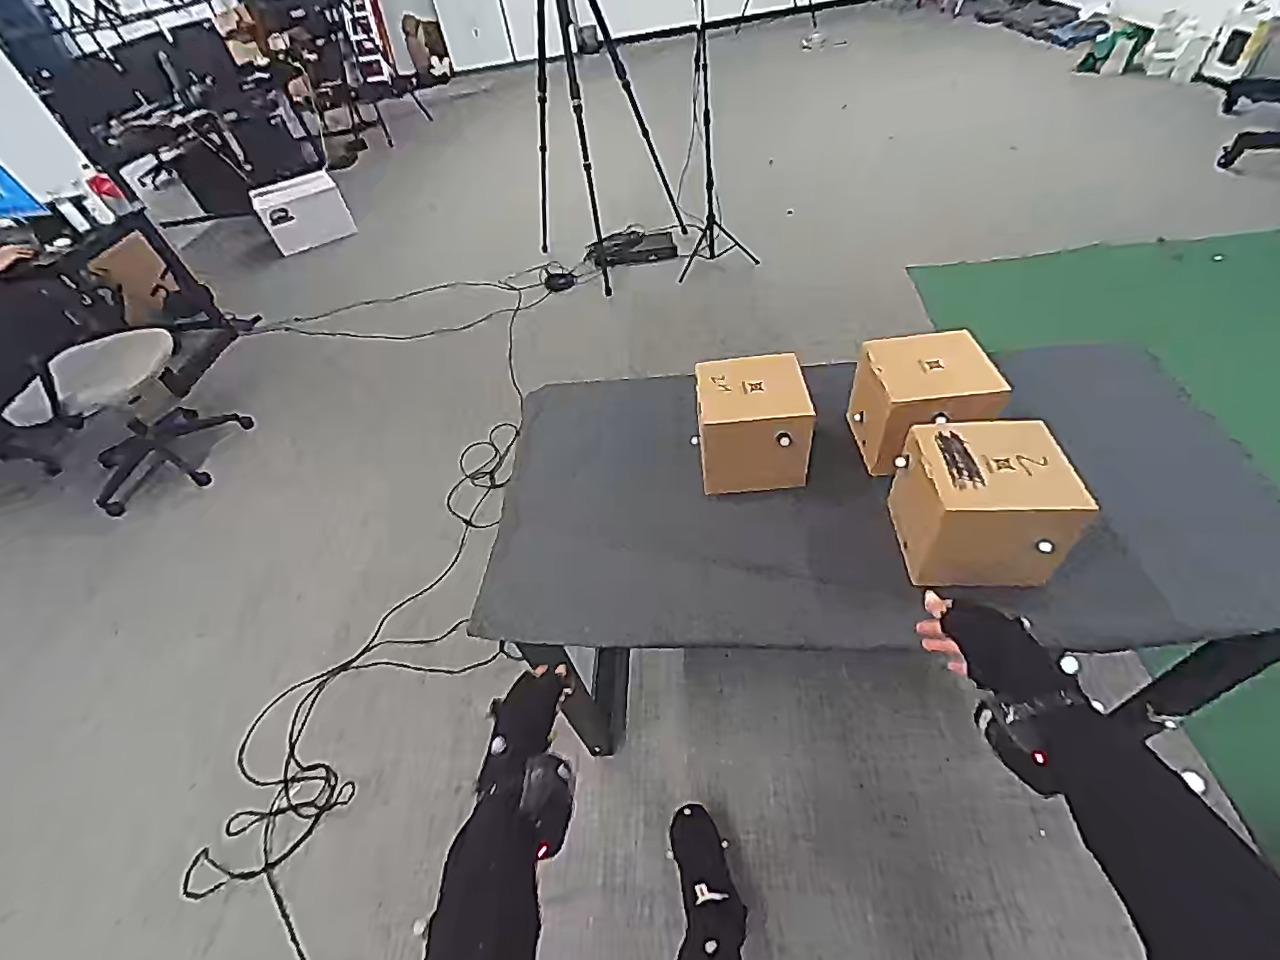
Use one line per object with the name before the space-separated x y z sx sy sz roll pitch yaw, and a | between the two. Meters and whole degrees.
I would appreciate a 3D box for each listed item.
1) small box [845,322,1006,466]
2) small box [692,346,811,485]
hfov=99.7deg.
small box | 0.467 -0.141 0.917 0.179 0.176 0.168 -6 48 6
small box | 0.184 -0.108 0.936 0.179 0.176 0.168 -5 48 6
